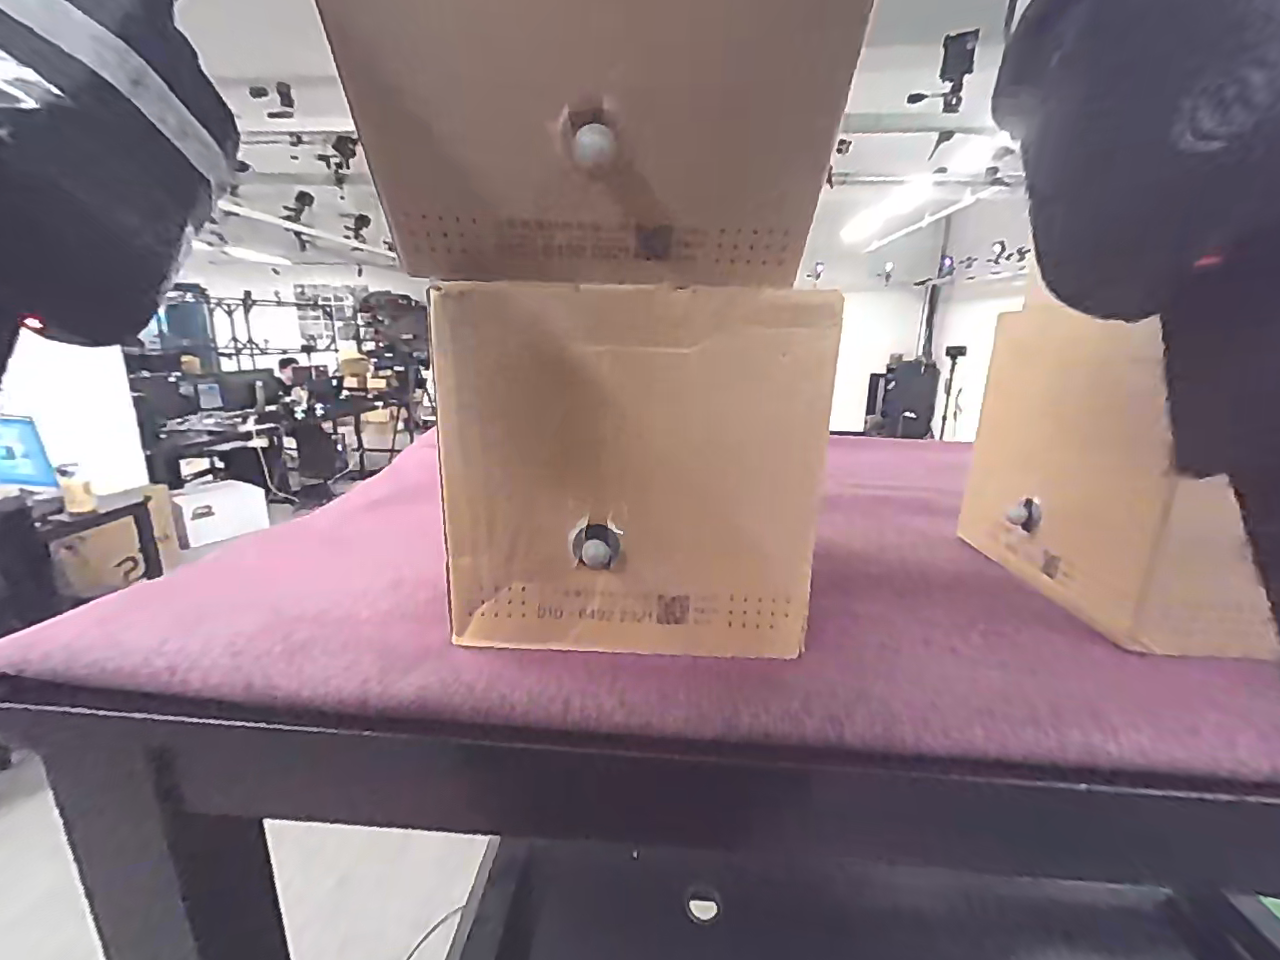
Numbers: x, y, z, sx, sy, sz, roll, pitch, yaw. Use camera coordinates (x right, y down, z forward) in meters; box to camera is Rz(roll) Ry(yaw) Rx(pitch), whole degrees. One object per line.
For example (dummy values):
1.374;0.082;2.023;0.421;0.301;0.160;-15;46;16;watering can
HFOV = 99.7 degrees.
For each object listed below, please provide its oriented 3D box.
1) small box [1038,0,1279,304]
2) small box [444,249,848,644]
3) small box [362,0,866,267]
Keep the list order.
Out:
0.335;-0.176;0.260;0.168;0.176;0.179;3;16;7;small box
-0.001;-0.028;0.314;0.168;0.176;0.179;2;16;0;small box
-0.010;-0.209;0.222;0.168;0.176;0.179;2;51;-1;small box
